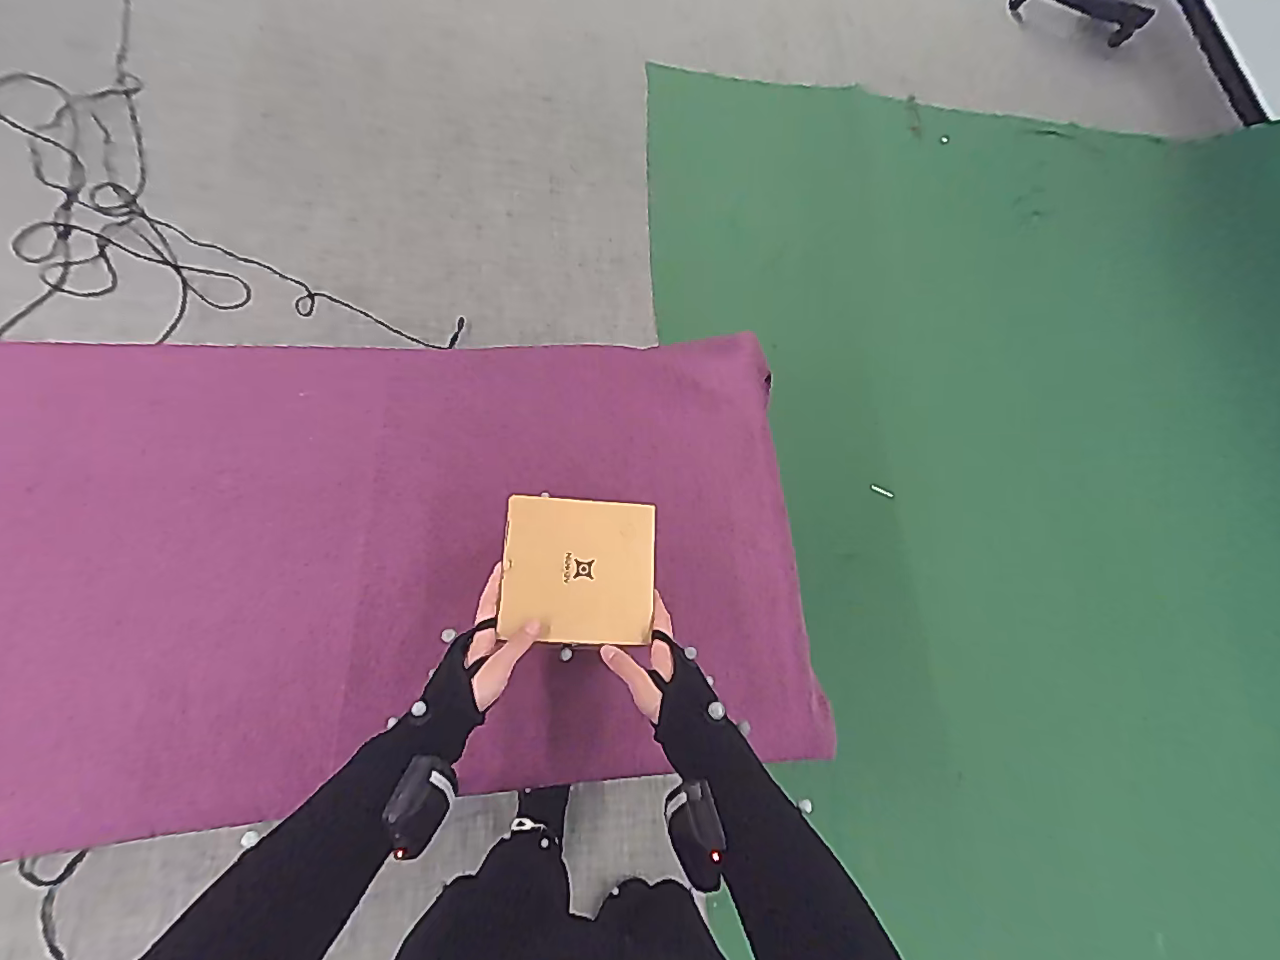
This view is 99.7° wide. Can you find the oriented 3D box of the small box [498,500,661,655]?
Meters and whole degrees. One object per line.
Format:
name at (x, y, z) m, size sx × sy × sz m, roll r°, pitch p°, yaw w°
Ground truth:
small box at (-0.076, 0.133, 0.690) m, size 0.179 × 0.176 × 0.168 m, roll 5°, pitch 70°, yaw -8°
